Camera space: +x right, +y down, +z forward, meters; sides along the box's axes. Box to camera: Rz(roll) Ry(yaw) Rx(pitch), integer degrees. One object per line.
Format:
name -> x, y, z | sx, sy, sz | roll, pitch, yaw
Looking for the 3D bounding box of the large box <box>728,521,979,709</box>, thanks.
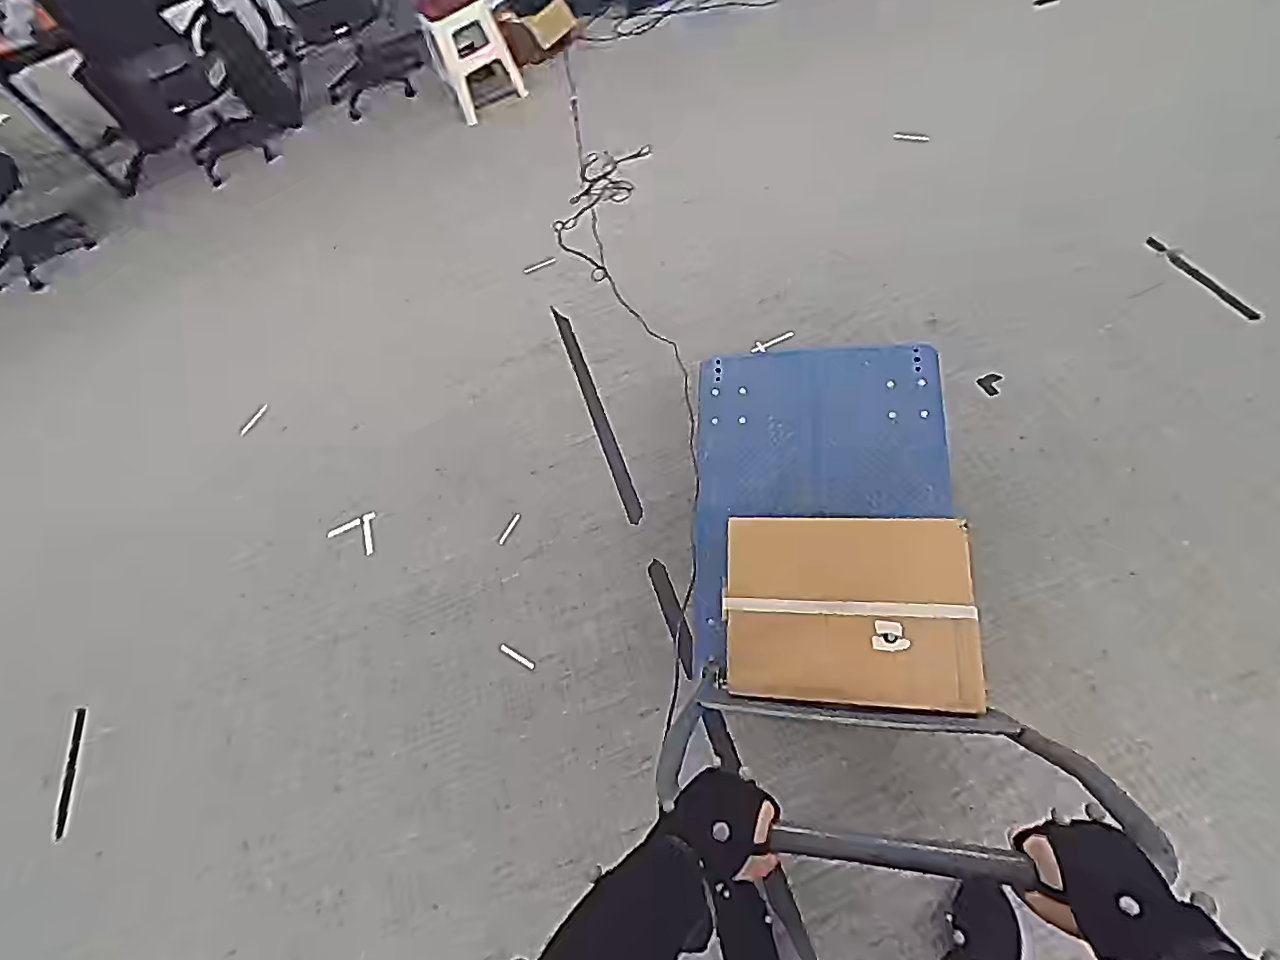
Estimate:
large box -> 0.387, 0.263, 1.086 | 0.408, 0.320, 0.320 | 0, 76, 12
